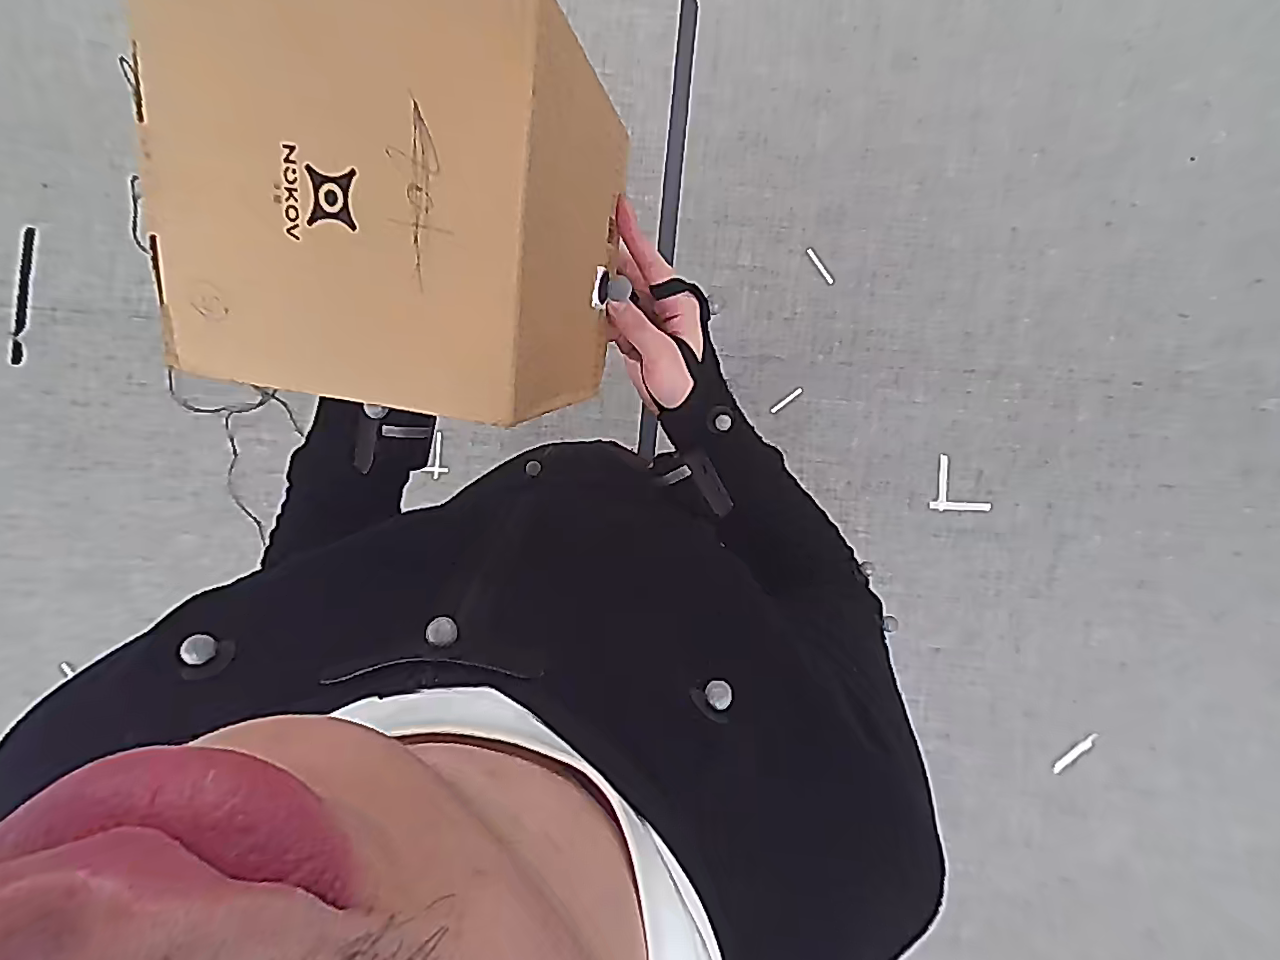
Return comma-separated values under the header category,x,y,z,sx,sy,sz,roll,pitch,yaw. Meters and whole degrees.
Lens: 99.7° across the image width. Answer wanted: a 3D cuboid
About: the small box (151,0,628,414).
category,x,y,z,sx,sy,sz,roll,pitch,yaw
small box,-0.115,-0.138,0.309,0.179,0.176,0.168,9,105,8
